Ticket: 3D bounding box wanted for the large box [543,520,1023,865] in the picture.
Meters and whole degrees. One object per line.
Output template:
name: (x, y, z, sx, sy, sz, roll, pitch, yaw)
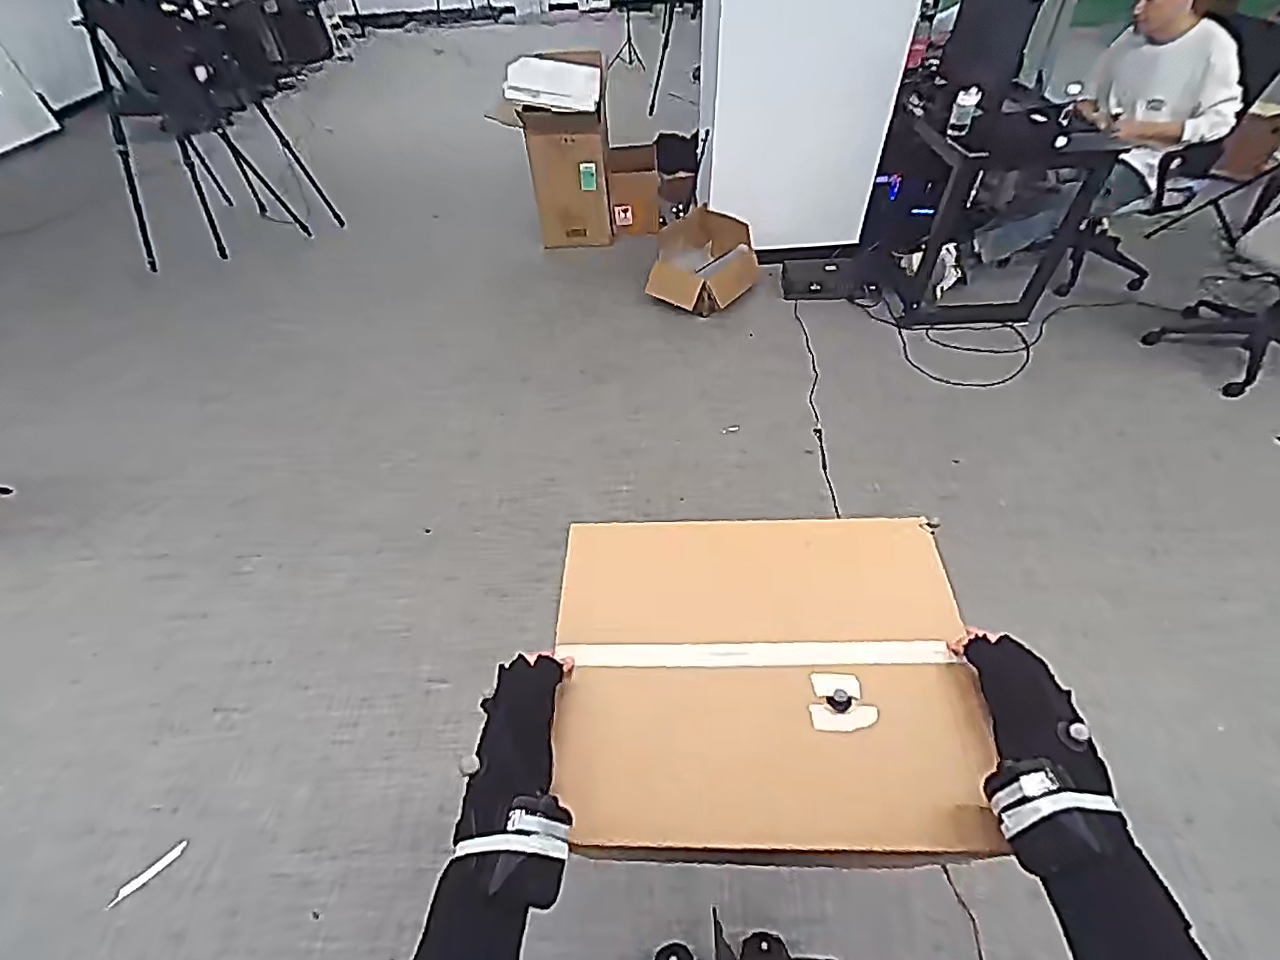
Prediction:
large box: (0.122, 0.265, 0.652, 0.408, 0.320, 0.320, -1, 53, 3)
